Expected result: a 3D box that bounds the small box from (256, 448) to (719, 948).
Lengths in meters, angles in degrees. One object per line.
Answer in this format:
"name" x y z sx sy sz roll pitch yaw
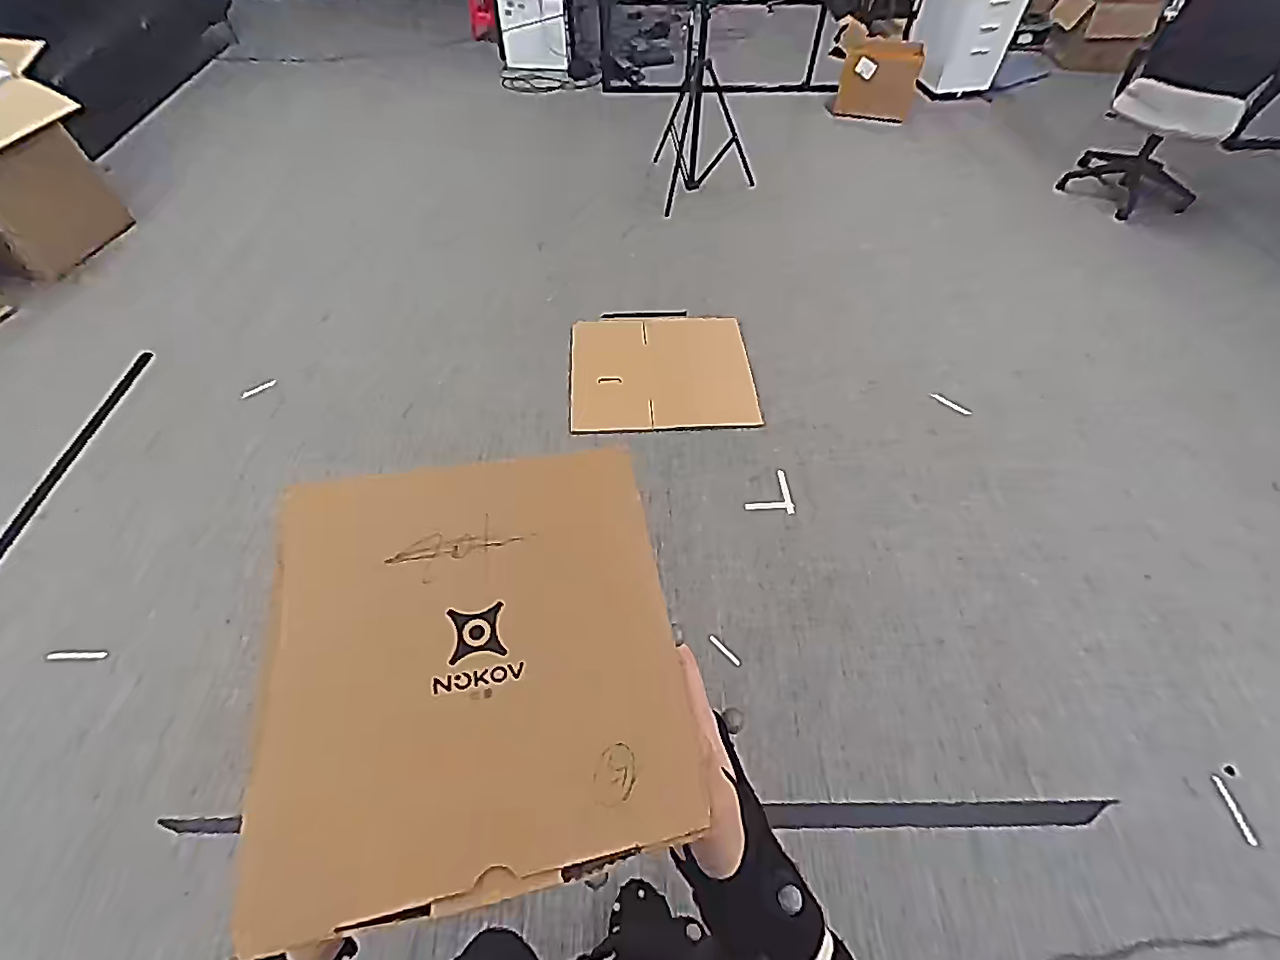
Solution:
"small box" -0.073 0.107 0.298 0.168 0.176 0.179 -7 61 -13
